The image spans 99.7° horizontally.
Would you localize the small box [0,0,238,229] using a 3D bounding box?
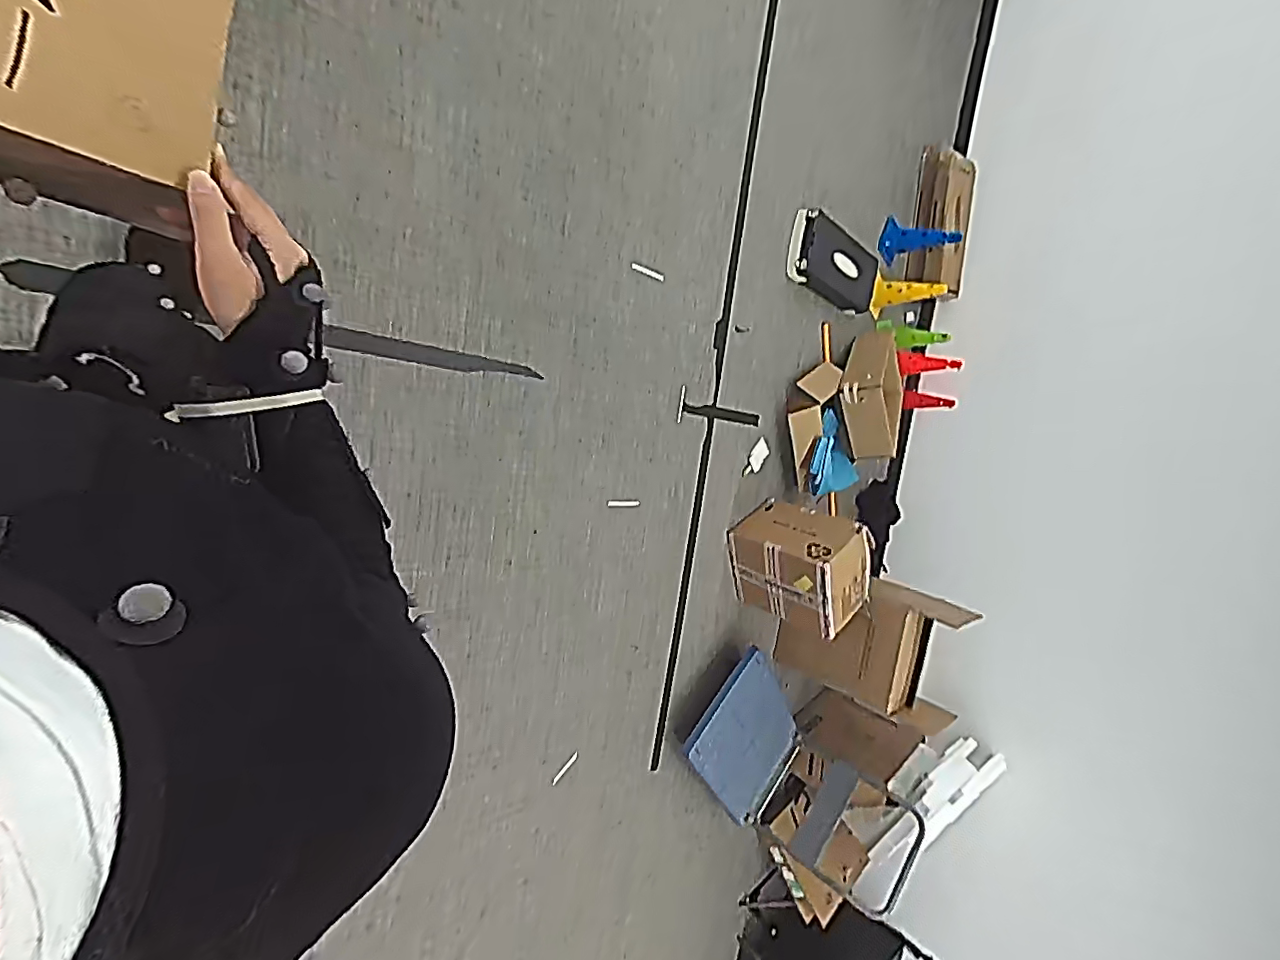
[{"bbox_3d":[-0.375,-0.288,0.341,0.168,0.176,0.179,7,94,-45],"label":"small box"}]
